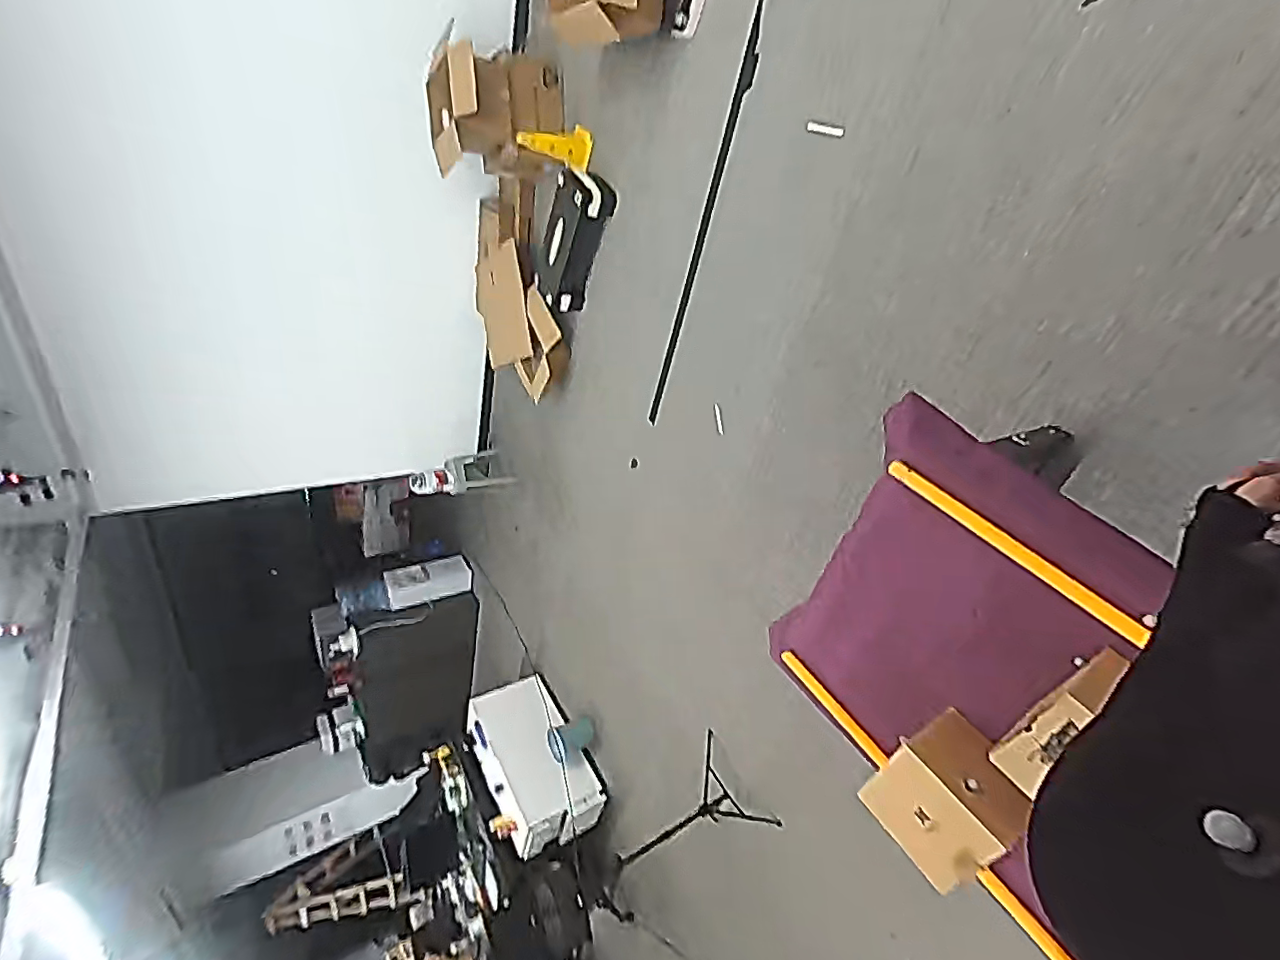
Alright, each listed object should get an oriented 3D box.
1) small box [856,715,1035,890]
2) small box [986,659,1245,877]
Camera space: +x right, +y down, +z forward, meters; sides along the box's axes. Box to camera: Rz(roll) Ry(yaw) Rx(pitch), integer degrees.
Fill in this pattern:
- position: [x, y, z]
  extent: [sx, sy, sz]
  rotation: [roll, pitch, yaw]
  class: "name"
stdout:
- position: [0.510, 0.522, 0.905]
  extent: [0.179, 0.176, 0.168]
  rotation: [47, 132, 37]
  class: "small box"
- position: [0.617, 0.361, 0.712]
  extent: [0.179, 0.176, 0.168]
  rotation: [48, 136, 36]
  class: "small box"
